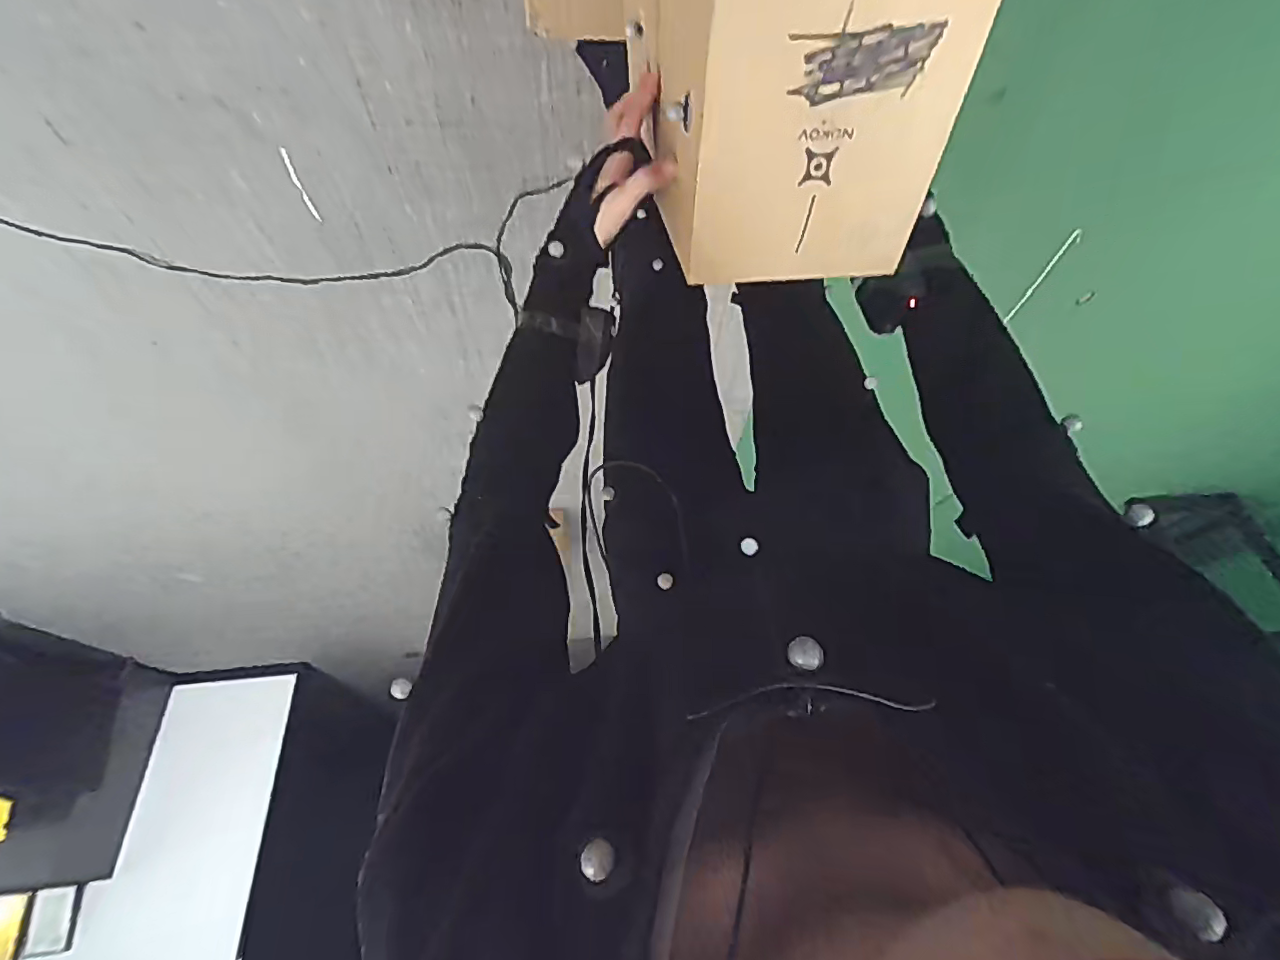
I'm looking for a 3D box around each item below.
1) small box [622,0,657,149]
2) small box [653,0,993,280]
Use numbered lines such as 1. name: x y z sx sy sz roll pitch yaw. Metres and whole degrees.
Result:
1. small box: 0.073 -0.417 0.478 0.168 0.176 0.179 -8 137 -1
2. small box: 0.102 -0.271 0.393 0.168 0.176 0.179 -5 139 -5
